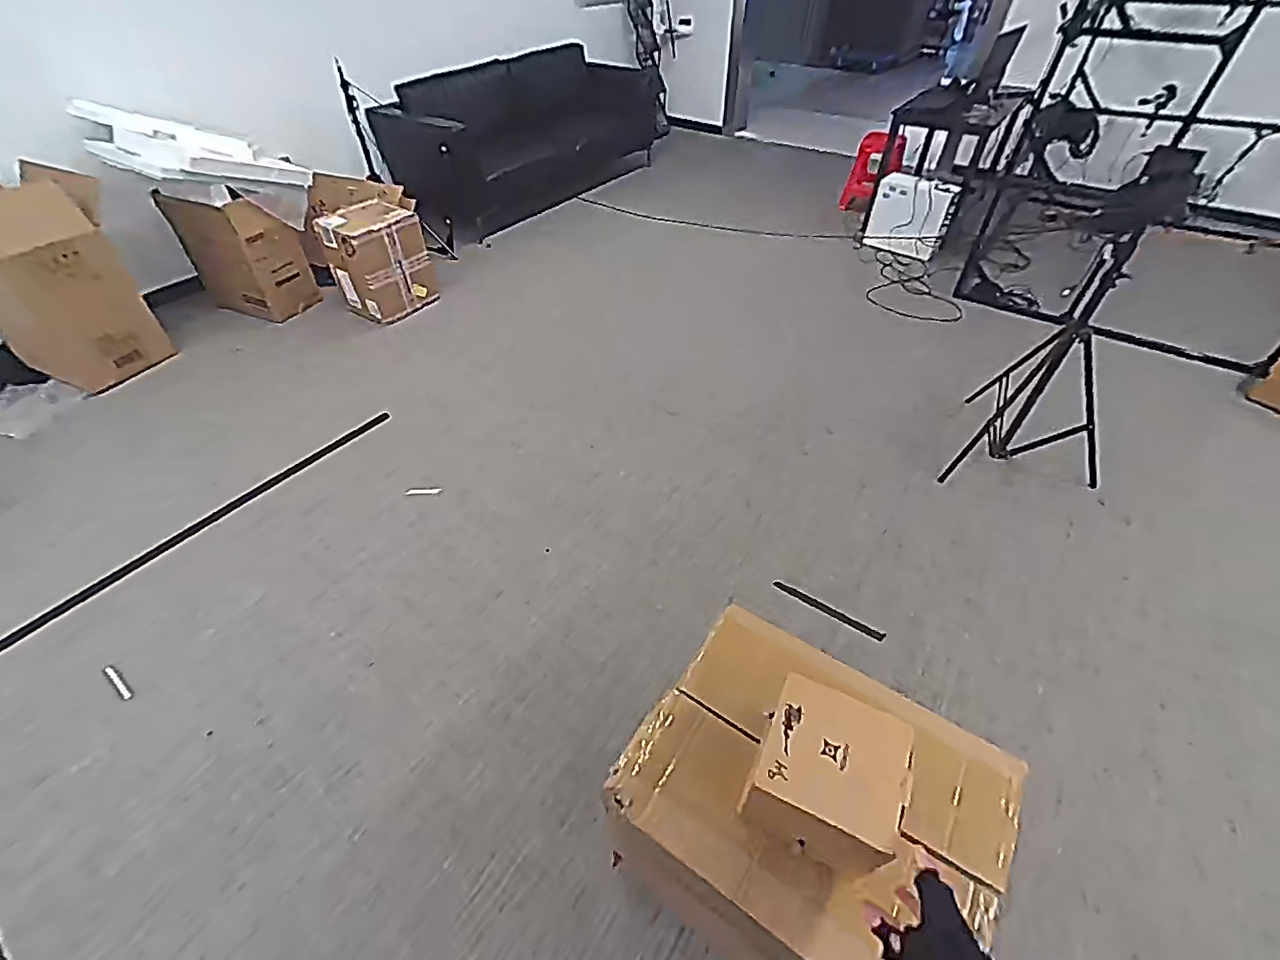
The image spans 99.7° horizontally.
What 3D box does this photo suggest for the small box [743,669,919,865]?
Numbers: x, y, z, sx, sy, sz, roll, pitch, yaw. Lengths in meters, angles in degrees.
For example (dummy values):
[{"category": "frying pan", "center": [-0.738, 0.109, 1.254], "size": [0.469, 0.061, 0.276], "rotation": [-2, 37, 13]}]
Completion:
[{"category": "small box", "center": [0.258, 0.402, 0.753], "size": [0.179, 0.176, 0.168], "rotation": [19, 50, 19]}]
